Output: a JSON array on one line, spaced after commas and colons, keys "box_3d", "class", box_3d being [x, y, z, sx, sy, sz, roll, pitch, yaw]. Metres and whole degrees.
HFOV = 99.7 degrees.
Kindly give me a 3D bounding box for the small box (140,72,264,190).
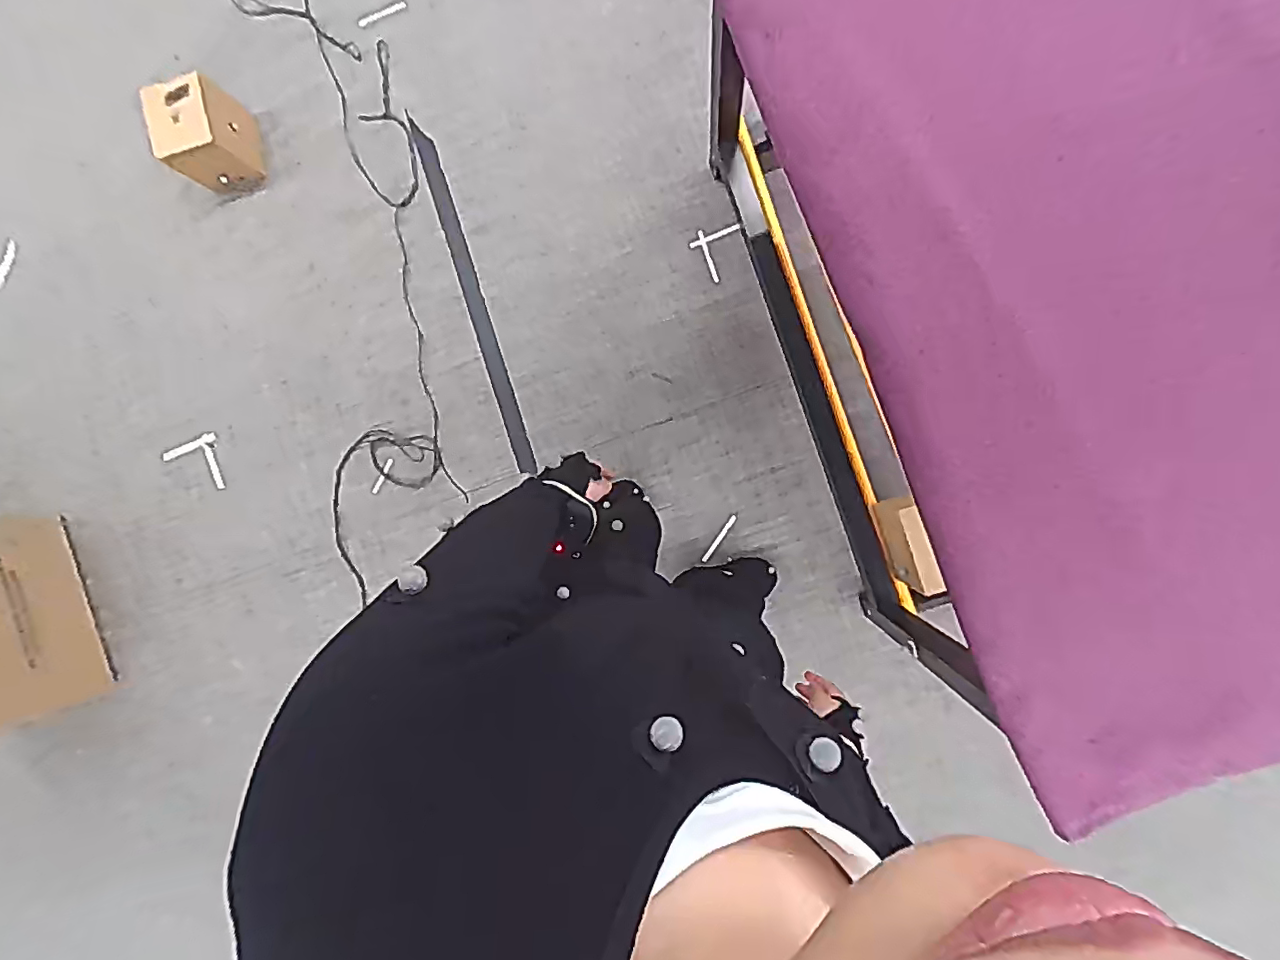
[{"box_3d": [-1.114, -0.885, 1.387, 0.168, 0.176, 0.179, -12, 91, 7], "class": "small box"}]
